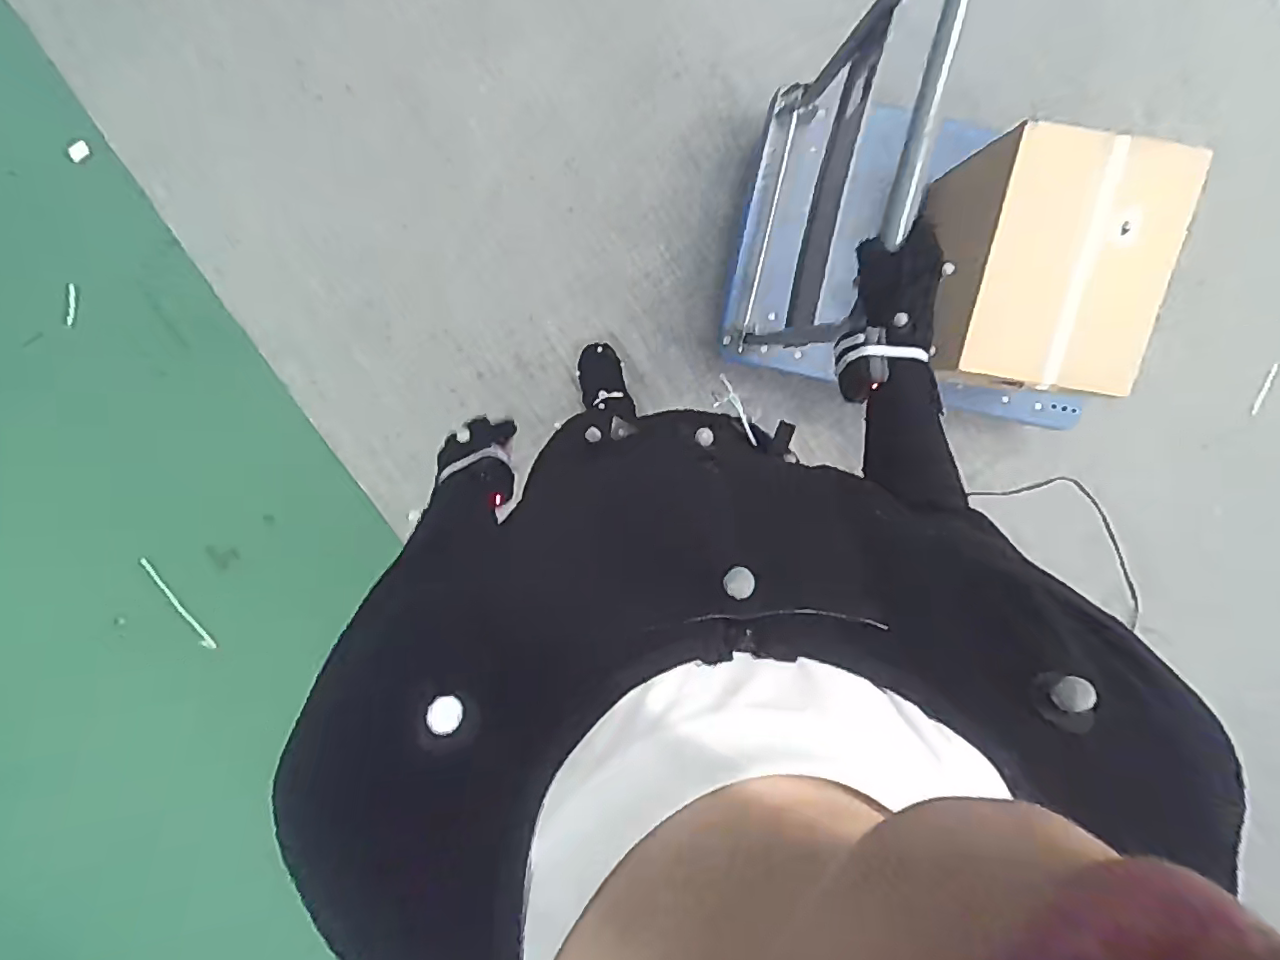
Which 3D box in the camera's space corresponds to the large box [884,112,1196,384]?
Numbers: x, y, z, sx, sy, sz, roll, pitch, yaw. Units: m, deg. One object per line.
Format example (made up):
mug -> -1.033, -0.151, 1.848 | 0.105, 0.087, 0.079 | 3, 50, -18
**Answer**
large box -> 0.730, -0.409, 1.061 | 0.320, 0.320, 0.408 | 9, 101, -2
